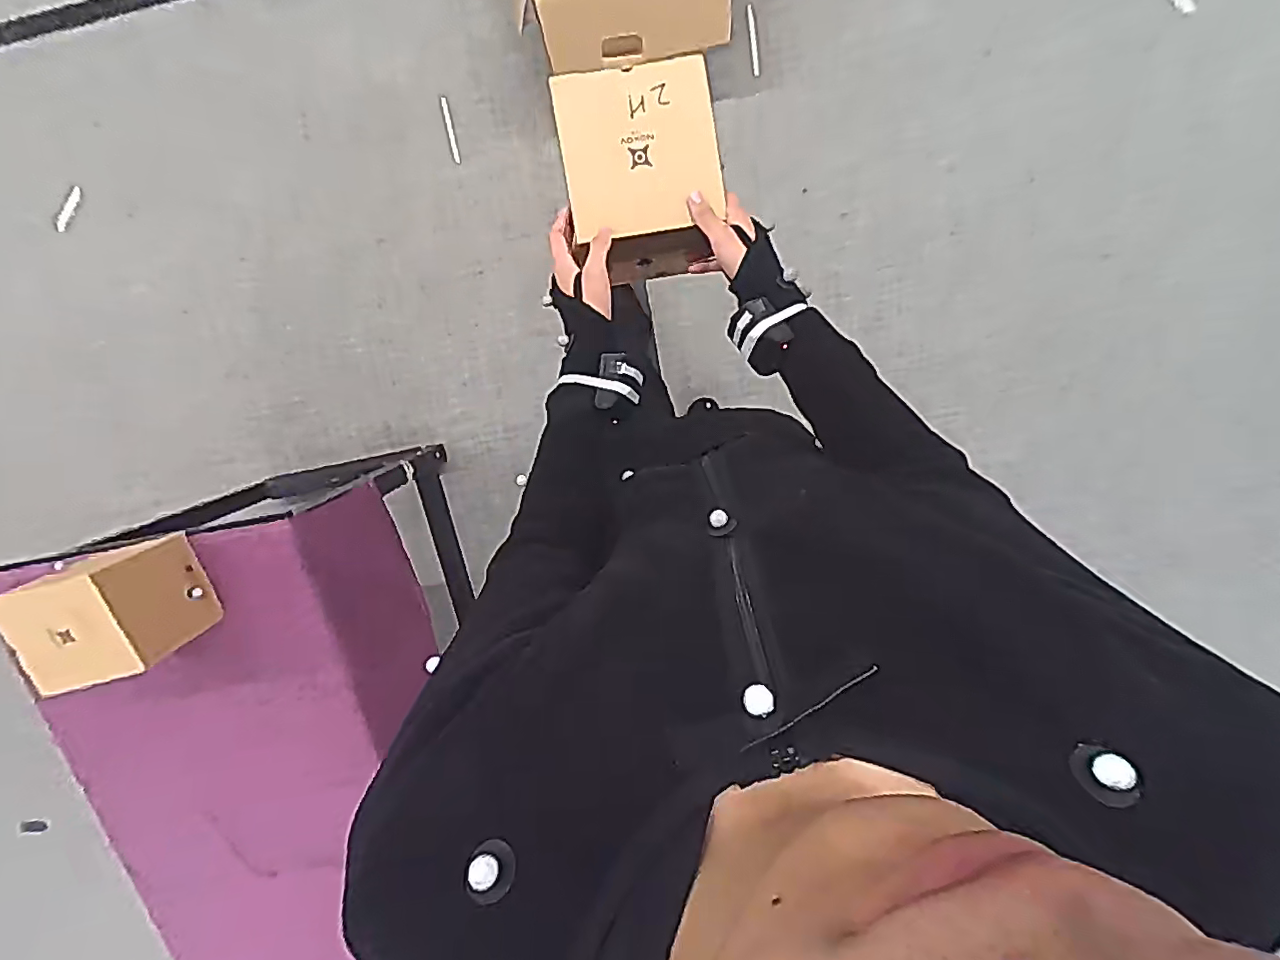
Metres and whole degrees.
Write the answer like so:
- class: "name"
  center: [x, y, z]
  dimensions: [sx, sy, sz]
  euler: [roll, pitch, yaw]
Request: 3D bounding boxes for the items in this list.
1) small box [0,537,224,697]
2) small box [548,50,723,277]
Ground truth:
- class: "small box"
  center: [-0.832, 0.210, 0.863]
  dimensions: [0.179, 0.176, 0.168]
  euler: [-14, 106, 5]
- class: "small box"
  center: [-0.006, -0.355, 0.645]
  dimensions: [0.168, 0.176, 0.179]
  euler: [-9, 94, -2]
